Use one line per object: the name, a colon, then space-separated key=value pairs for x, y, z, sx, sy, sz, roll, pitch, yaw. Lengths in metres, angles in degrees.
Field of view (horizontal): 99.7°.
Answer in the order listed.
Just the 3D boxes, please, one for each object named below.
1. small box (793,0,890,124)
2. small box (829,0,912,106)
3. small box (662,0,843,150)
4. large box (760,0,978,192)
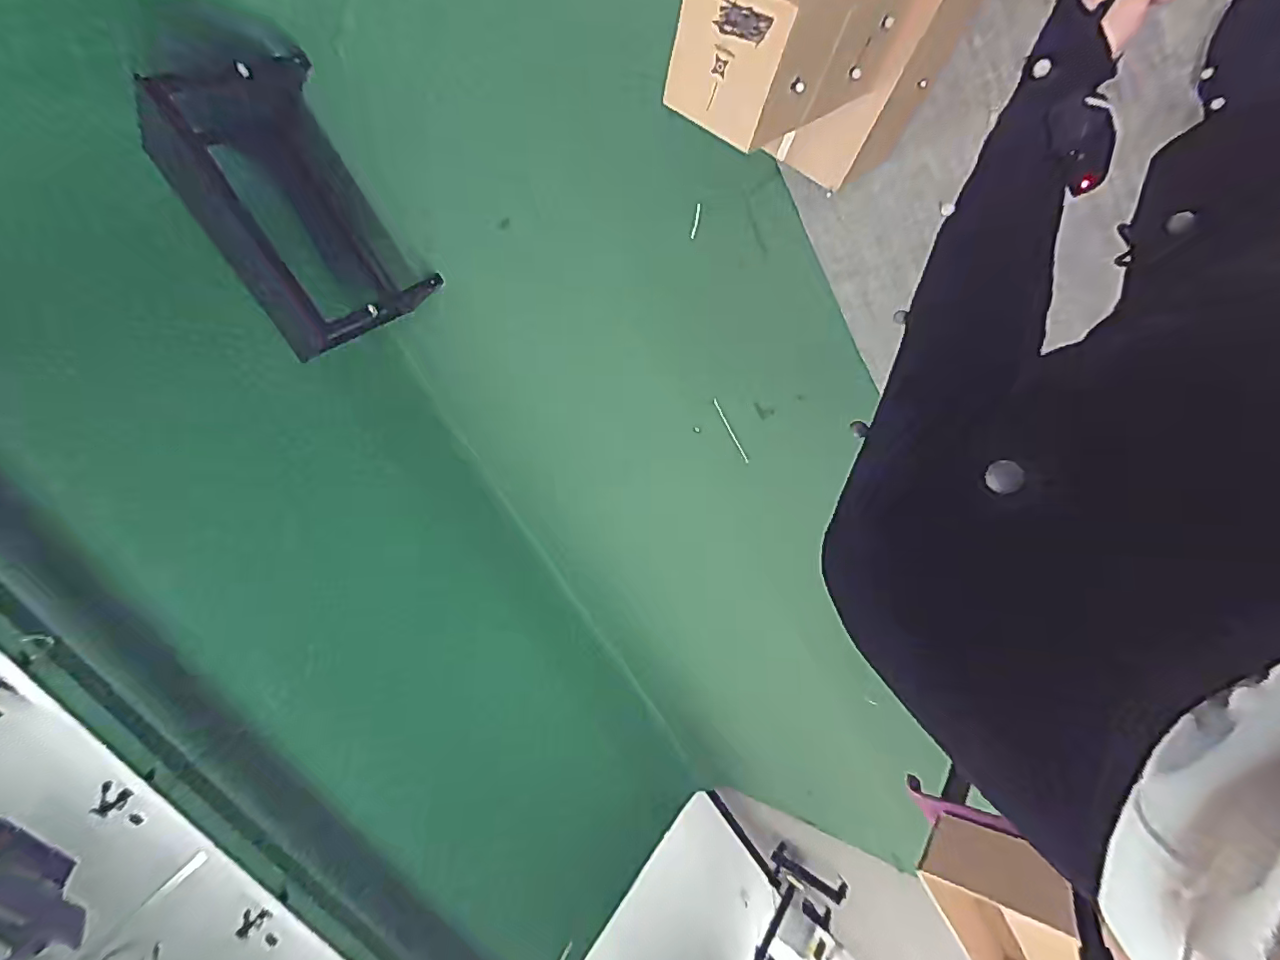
small box: x=0.258 y=-0.715 z=0.866 sx=0.179 sy=0.176 sz=0.168 roll=40 pitch=147 yaw=10
small box: x=0.352 y=-0.810 z=0.958 sx=0.168 sy=0.176 sz=0.179 roll=40 pitch=146 yaw=12
small box: x=0.162 y=-0.621 z=0.773 sx=0.168 sy=0.176 sz=0.179 roll=40 pitch=148 yaw=12
large box: x=0.465 y=-0.929 z=1.158 sx=0.320 sy=0.320 sz=0.408 roll=41 pitch=147 yaw=12
